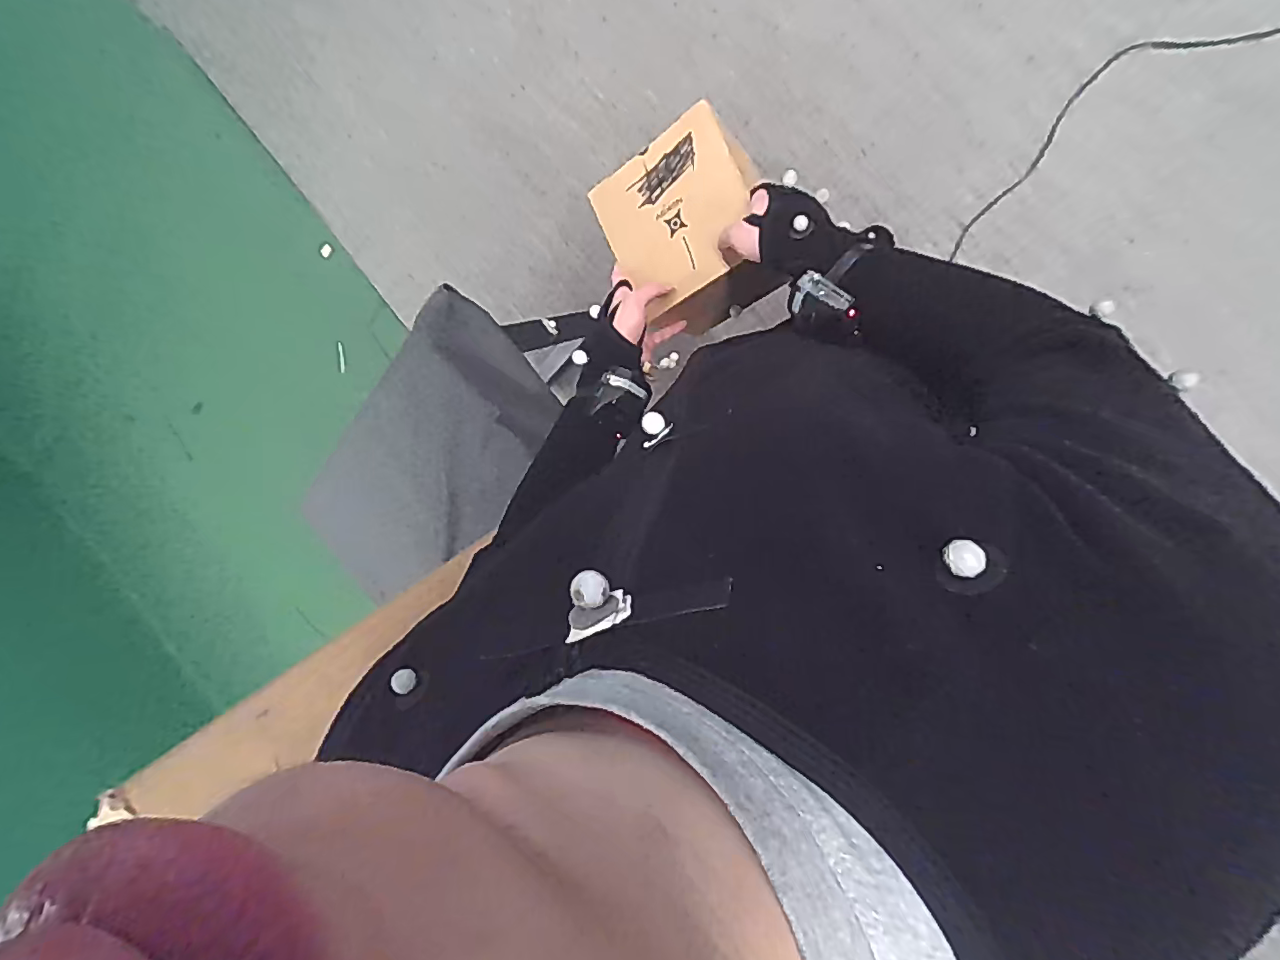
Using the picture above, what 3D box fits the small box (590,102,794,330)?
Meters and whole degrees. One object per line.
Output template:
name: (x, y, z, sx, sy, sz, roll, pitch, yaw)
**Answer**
small box: (0.072, -0.310, 0.683, 0.168, 0.176, 0.179, -25, 86, 30)
